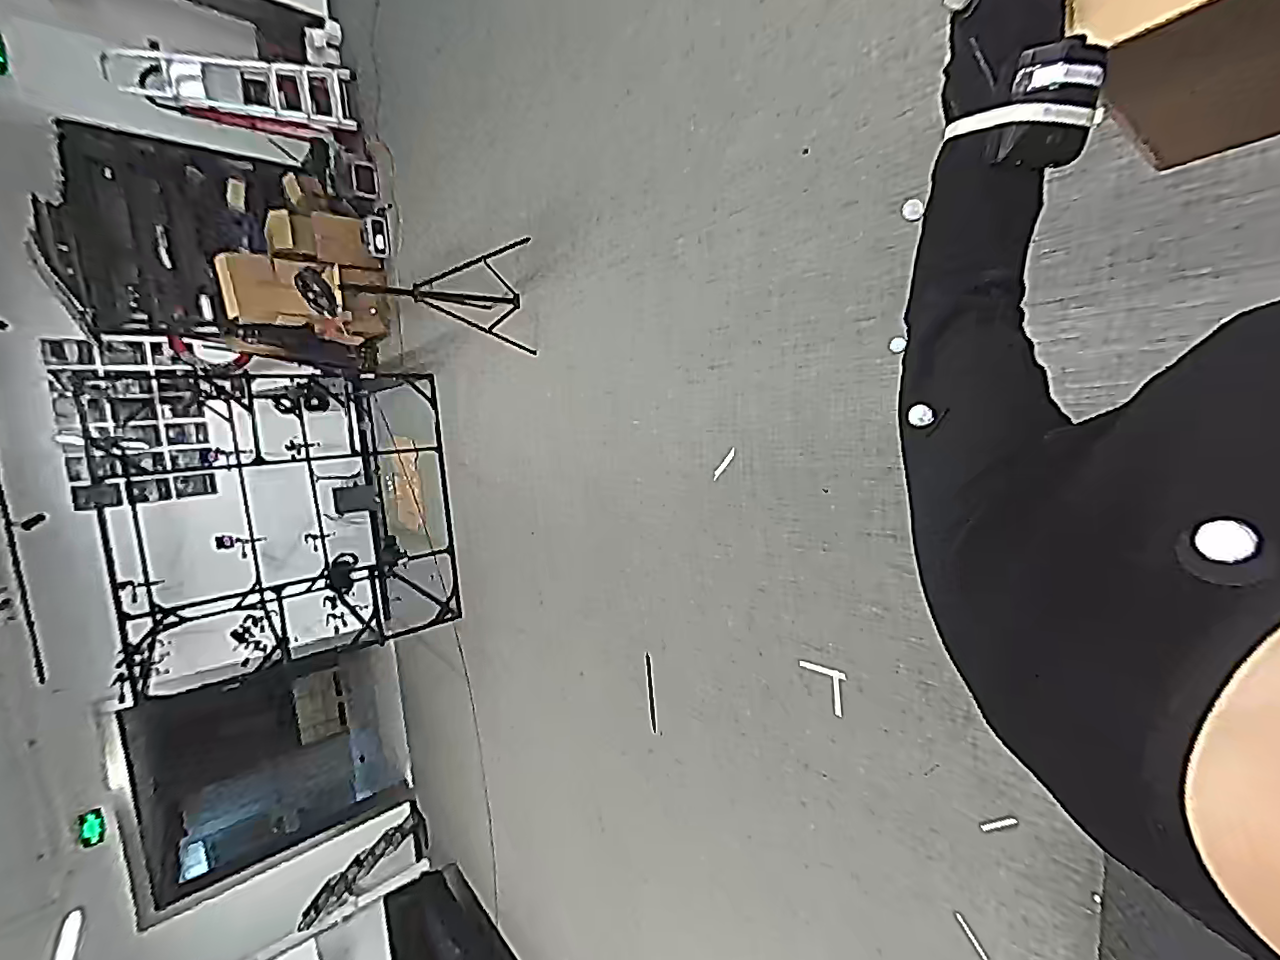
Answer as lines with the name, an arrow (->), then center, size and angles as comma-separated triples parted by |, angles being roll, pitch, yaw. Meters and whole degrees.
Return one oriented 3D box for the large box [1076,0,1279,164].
large box -> 0.518, -0.450, 0.291 | 0.408, 0.320, 0.320 | 1, 97, 51
